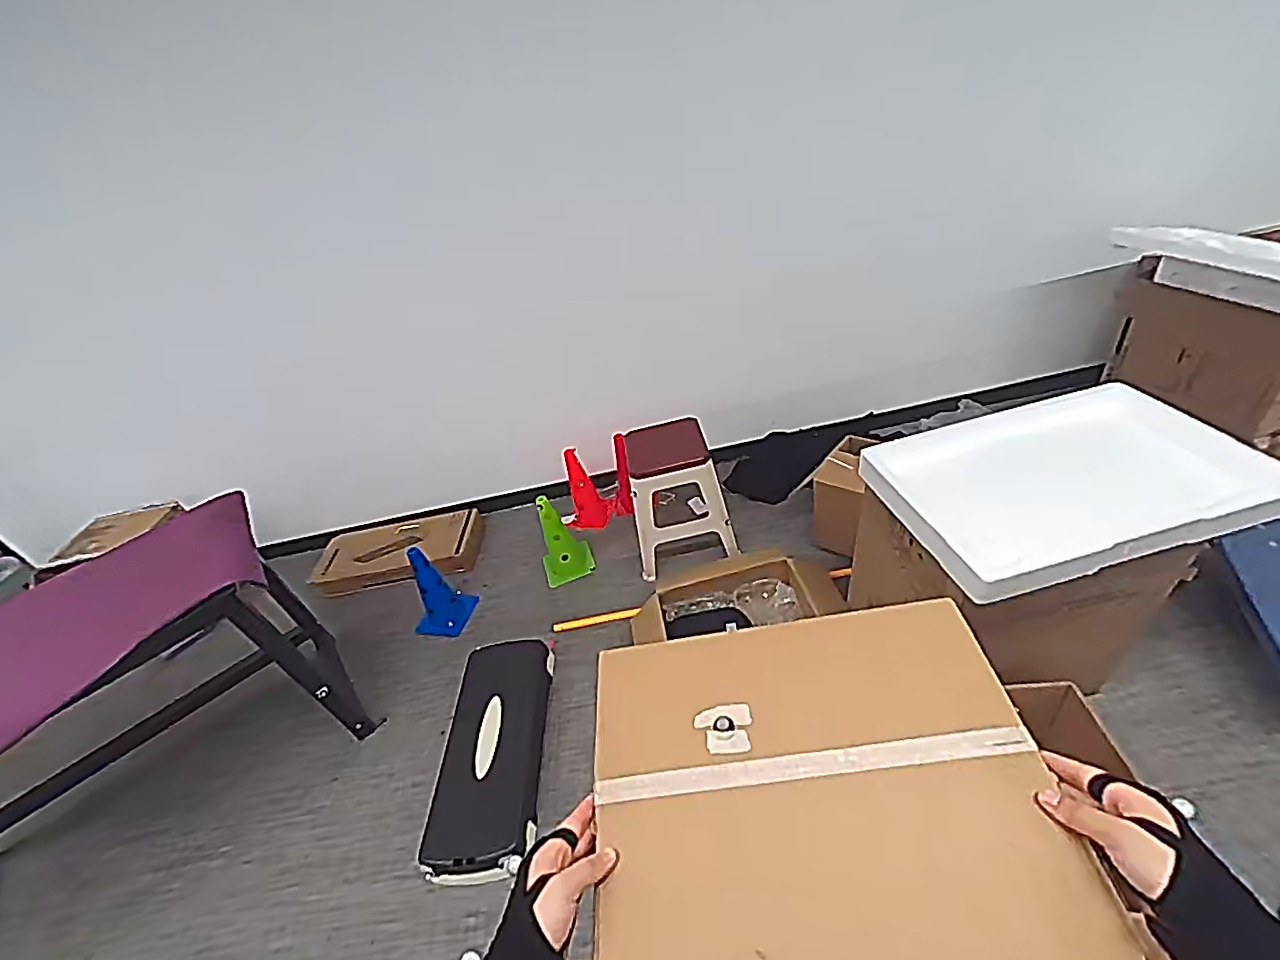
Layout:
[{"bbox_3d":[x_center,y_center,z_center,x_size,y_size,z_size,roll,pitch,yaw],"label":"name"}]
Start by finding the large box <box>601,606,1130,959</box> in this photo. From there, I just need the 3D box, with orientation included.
[{"bbox_3d":[0.190,0.389,0.615,0.408,0.320,0.320,-12,40,7],"label":"large box"}]
